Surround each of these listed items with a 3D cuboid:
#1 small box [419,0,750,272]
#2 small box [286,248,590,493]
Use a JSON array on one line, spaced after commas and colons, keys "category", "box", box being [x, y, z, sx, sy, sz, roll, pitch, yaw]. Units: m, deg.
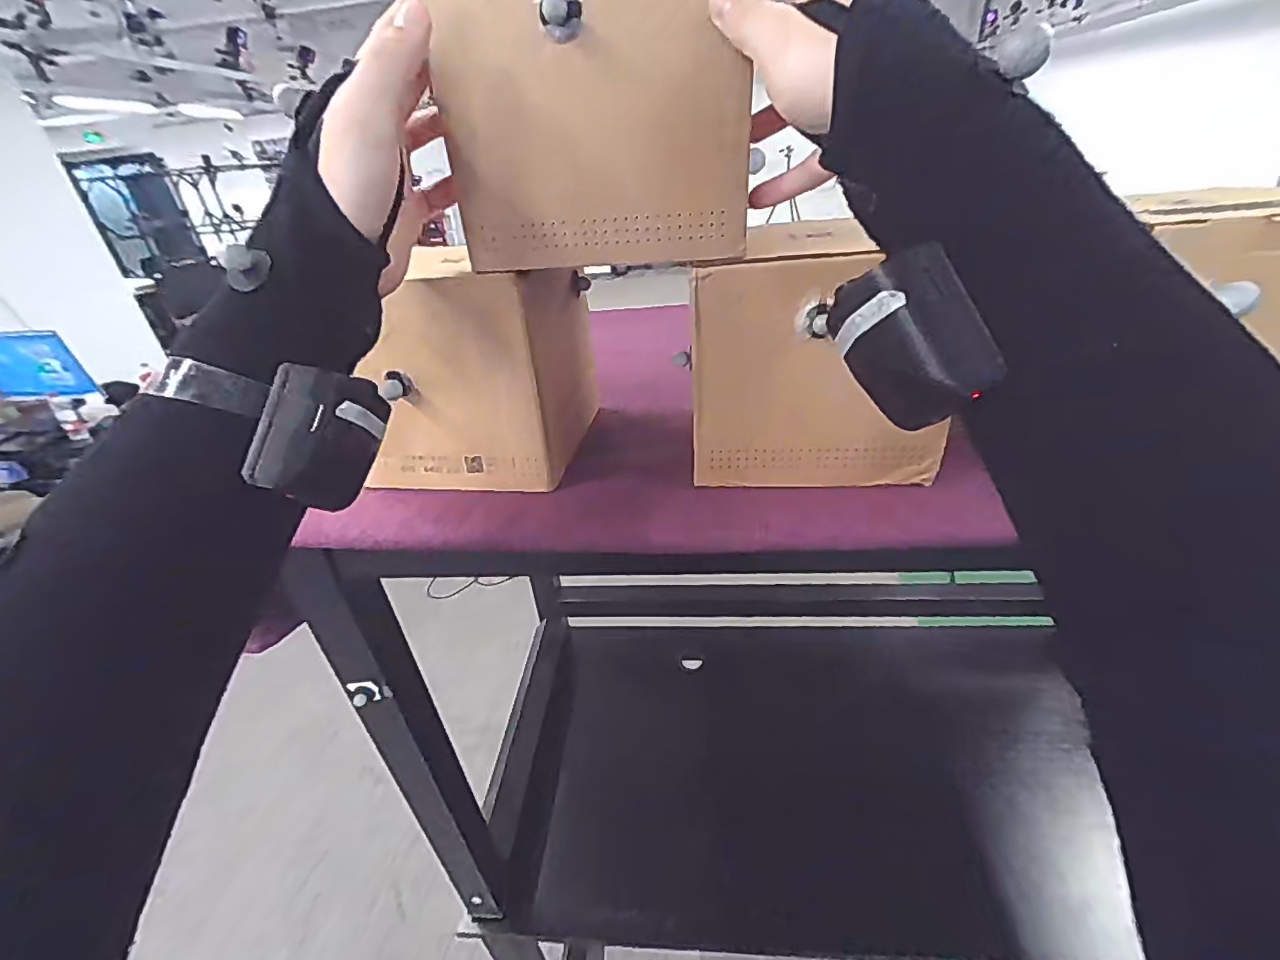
[{"category": "small box", "box": [-0.023, -0.246, 0.366, 0.179, 0.176, 0.168, -4, 31, 5]}, {"category": "small box", "box": [-0.145, -0.100, 0.467, 0.168, 0.176, 0.179, 1, 30, 9]}]
